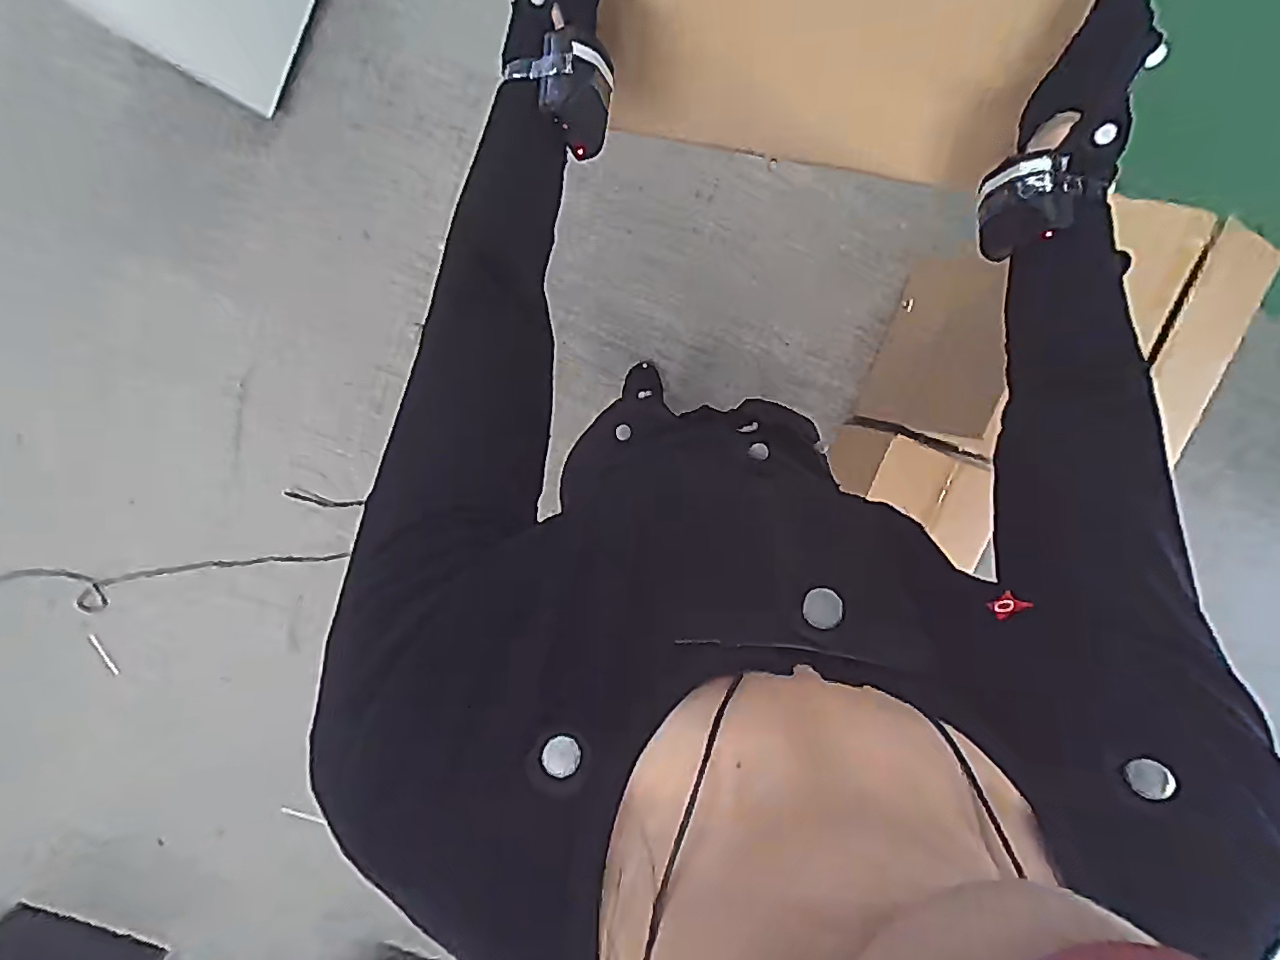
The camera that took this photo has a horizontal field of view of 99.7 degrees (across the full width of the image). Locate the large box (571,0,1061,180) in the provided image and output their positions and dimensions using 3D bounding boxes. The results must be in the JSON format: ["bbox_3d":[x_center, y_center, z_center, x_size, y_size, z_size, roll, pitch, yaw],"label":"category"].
[{"bbox_3d":[0.168,-0.515,0.551,0.408,0.320,0.320,11,123,4],"label":"large box"}]
